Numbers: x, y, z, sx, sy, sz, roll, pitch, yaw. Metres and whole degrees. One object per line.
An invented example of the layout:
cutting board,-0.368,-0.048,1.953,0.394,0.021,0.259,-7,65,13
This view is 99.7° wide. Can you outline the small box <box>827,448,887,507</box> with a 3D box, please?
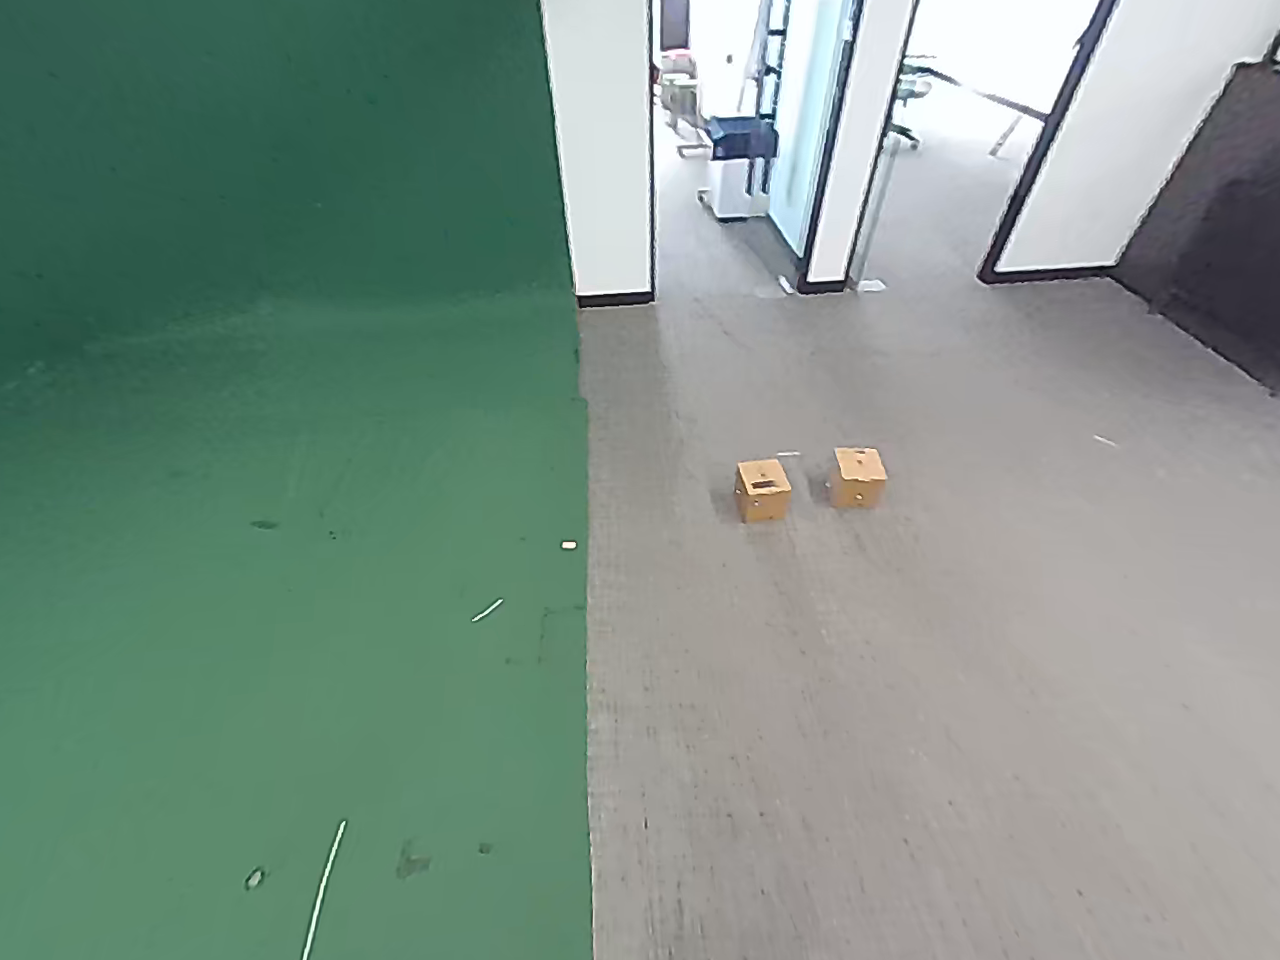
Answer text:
small box,0.855,-0.006,2.145,0.168,0.176,0.179,2,47,3
